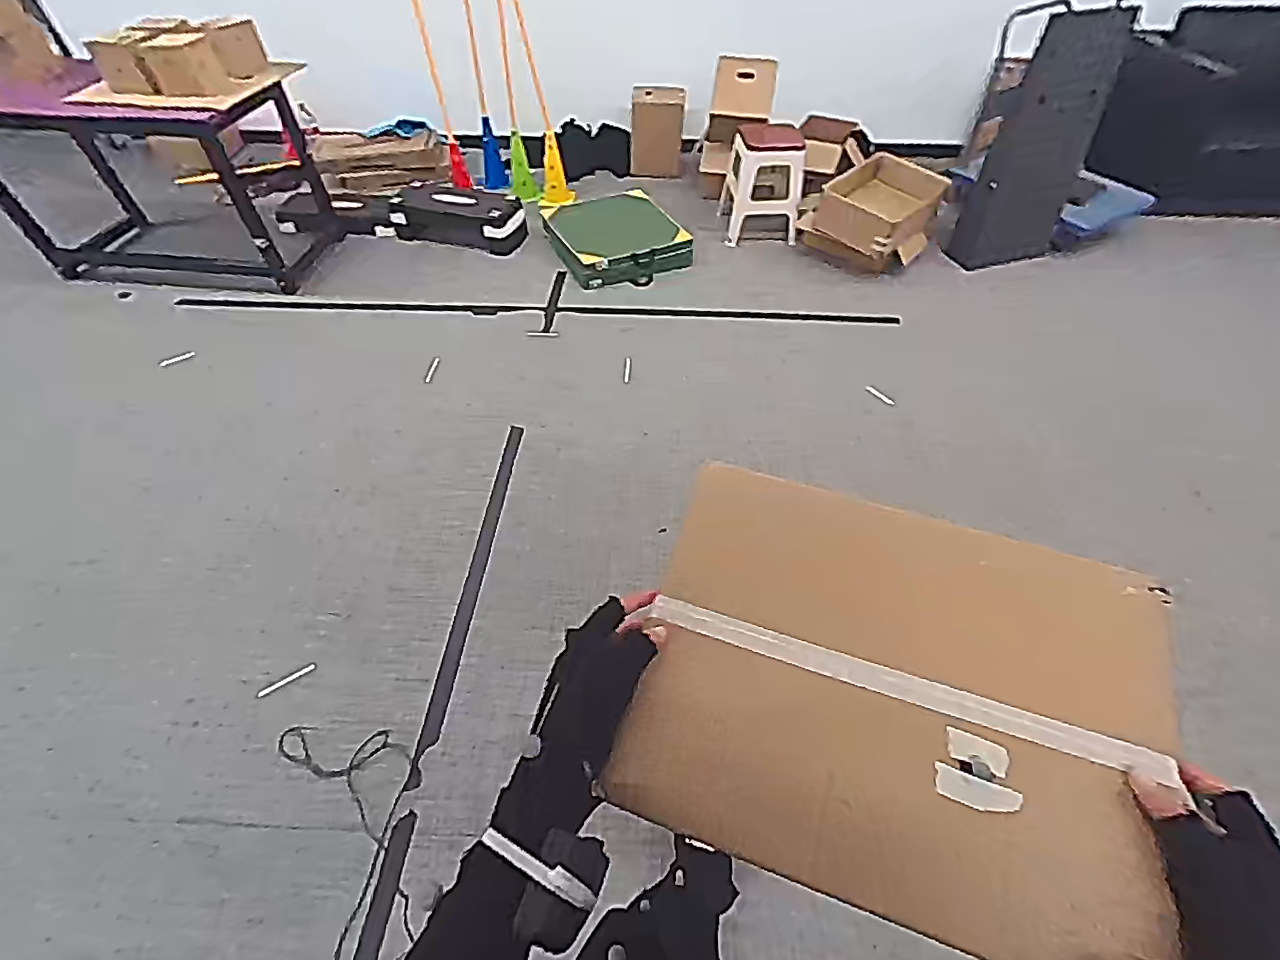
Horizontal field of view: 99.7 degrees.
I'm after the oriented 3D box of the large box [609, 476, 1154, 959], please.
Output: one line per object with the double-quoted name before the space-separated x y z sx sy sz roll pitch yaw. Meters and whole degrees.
"large box" 0.213 0.238 0.596 0.408 0.320 0.320 15 66 11
